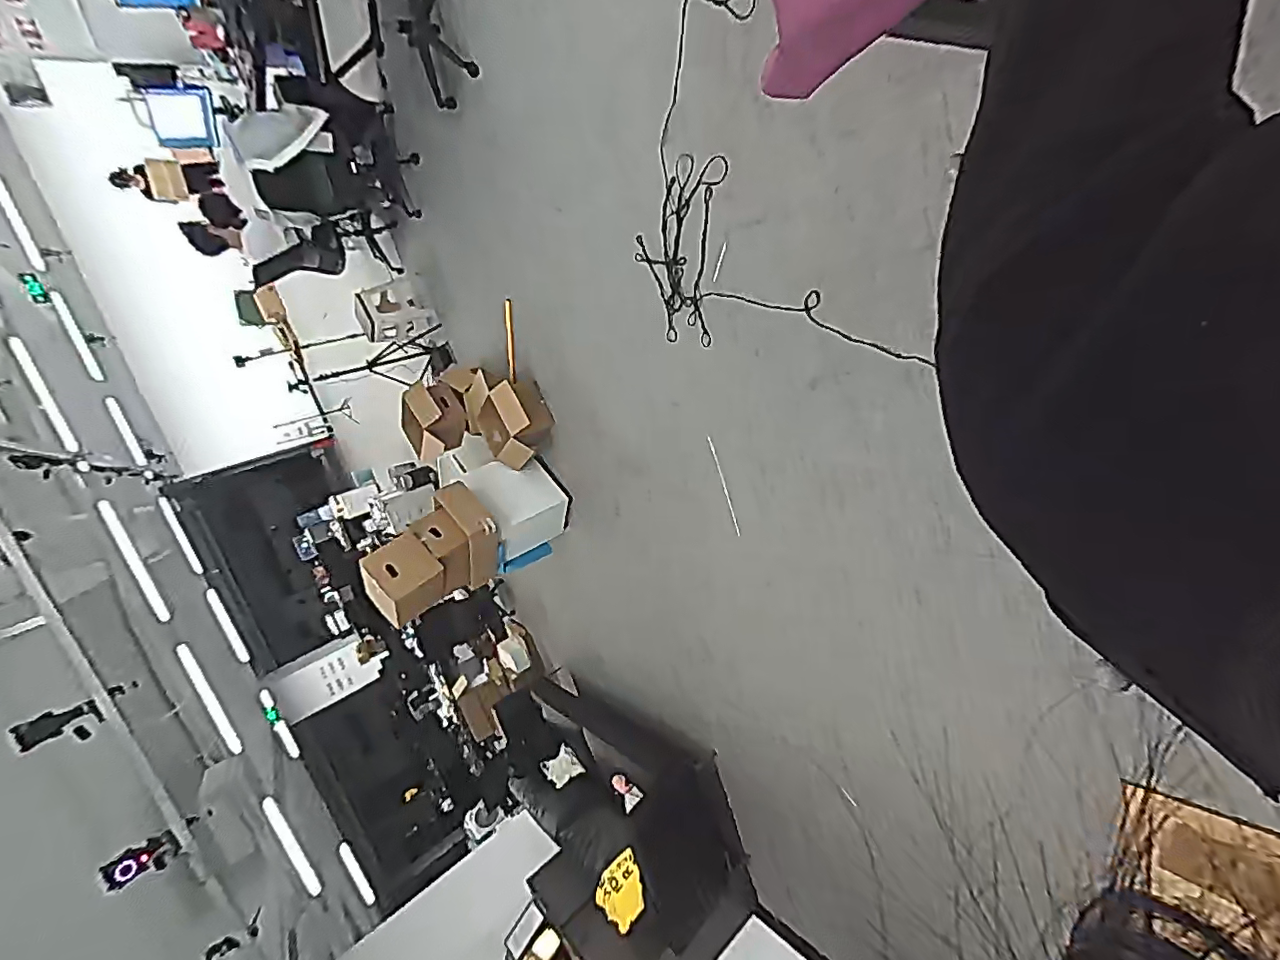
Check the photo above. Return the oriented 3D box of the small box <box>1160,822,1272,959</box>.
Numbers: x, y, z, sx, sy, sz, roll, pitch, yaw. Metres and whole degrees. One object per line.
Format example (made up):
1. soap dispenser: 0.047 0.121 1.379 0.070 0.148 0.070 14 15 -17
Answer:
1. small box: 1.429 1.007 1.343 0.168 0.176 0.179 11 121 53
